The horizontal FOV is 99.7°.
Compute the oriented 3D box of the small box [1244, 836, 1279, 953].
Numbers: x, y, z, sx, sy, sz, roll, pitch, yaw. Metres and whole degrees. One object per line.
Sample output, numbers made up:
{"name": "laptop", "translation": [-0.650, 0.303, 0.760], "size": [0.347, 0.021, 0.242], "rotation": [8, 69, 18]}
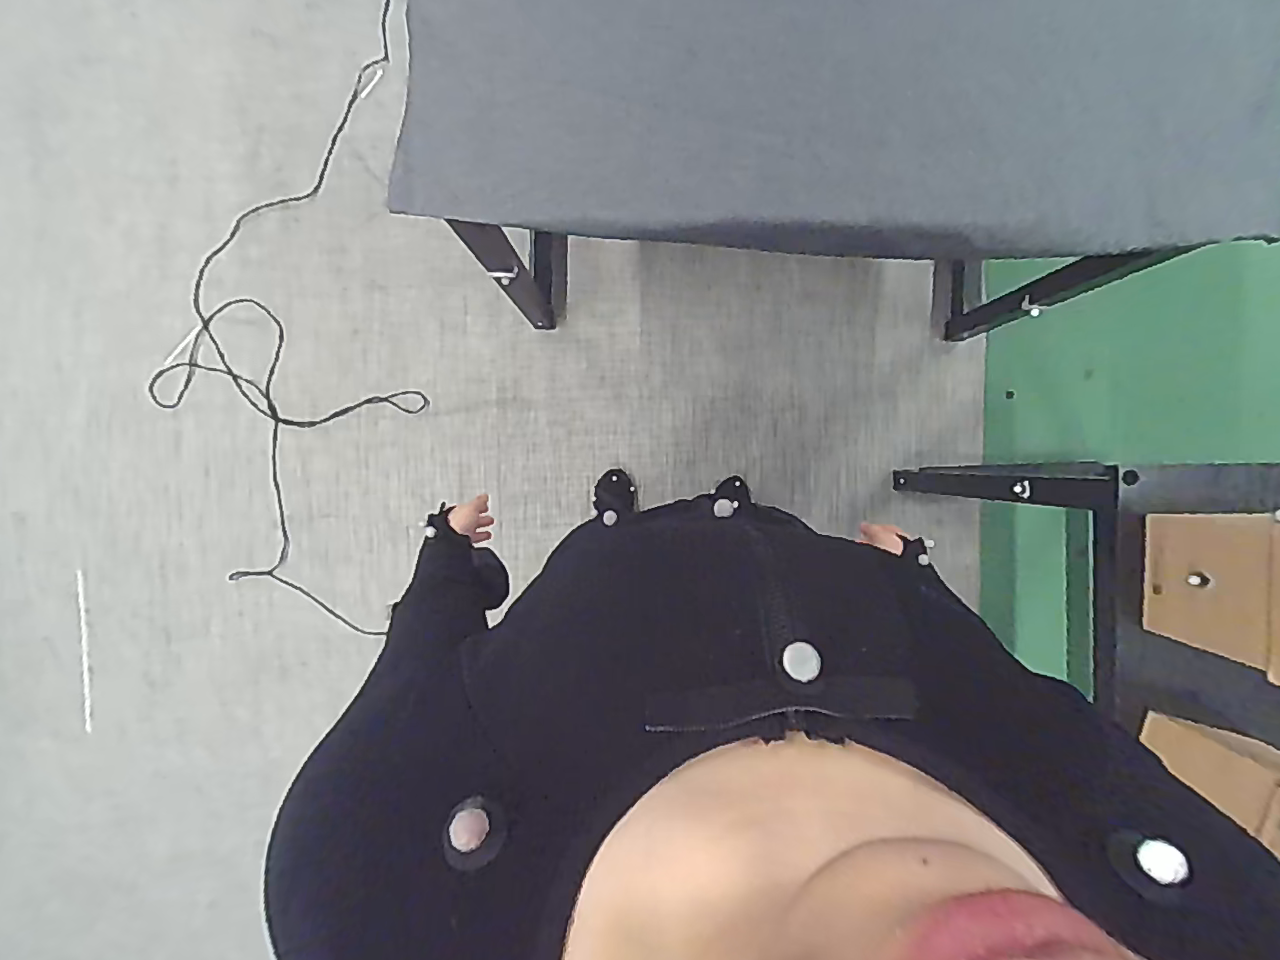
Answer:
{"name": "small box", "translation": [0.767, 0.446, 0.518], "size": [0.179, 0.176, 0.168], "rotation": [18, 93, 0]}

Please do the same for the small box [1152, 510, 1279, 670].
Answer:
{"name": "small box", "translation": [0.793, 0.129, 0.669], "size": [0.179, 0.176, 0.168], "rotation": [0, 93, 1]}

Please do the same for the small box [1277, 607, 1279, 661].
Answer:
{"name": "small box", "translation": [0.774, 0.141, 0.508], "size": [0.168, 0.176, 0.179], "rotation": [0, 92, 2]}
